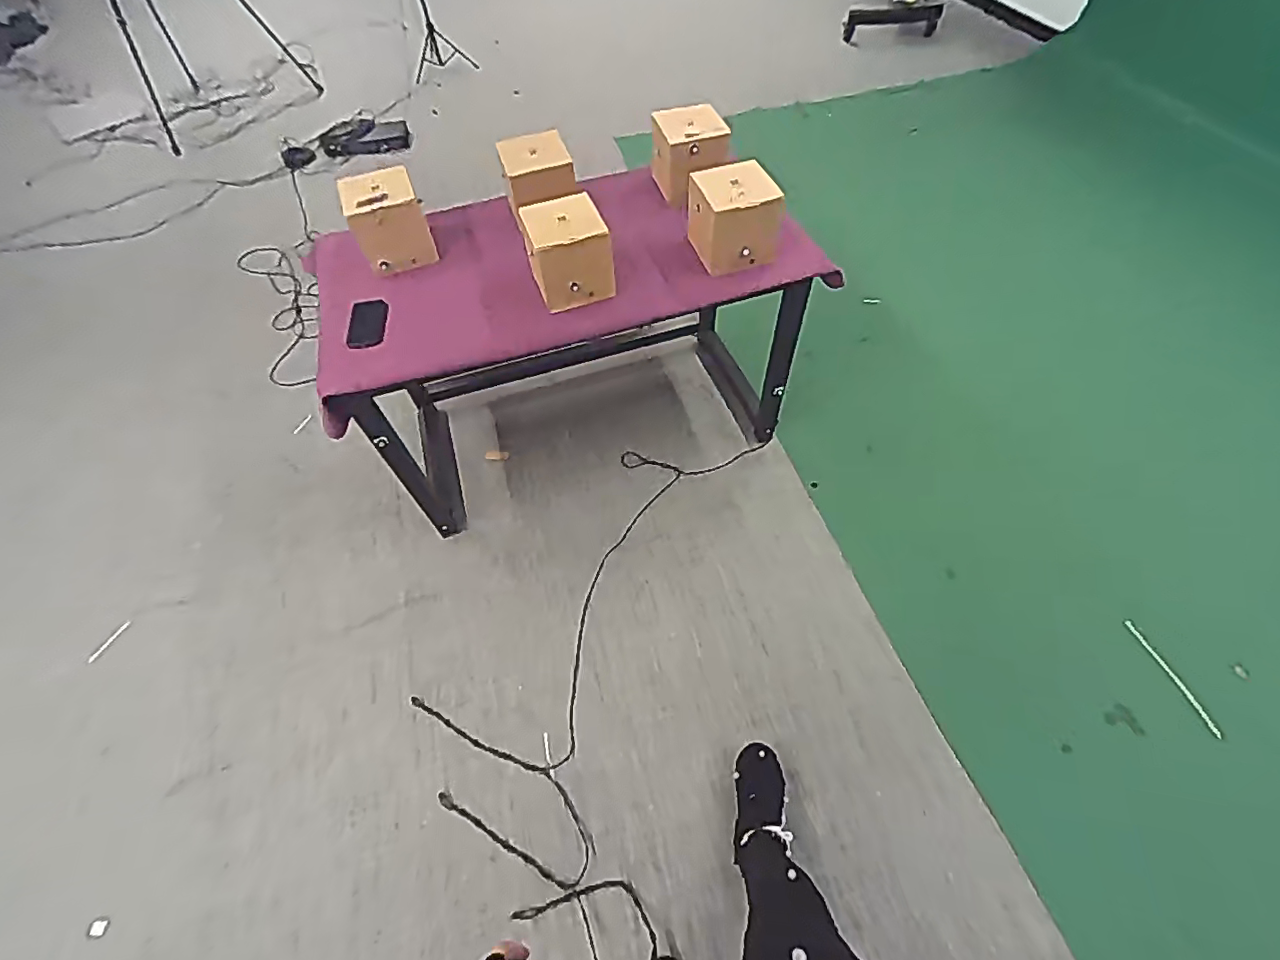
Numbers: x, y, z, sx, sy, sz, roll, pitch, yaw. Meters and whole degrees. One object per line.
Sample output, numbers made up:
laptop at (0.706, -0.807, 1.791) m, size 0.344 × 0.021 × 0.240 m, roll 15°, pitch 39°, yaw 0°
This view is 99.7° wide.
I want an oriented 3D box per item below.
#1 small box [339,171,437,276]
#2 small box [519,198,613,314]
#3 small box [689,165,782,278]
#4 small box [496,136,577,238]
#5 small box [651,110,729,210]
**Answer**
small box at (-0.625, -0.633, 1.353) m, size 0.168 × 0.176 × 0.179 m, roll -20°, pitch 57°, yaw -10°
small box at (-0.169, -0.515, 1.252) m, size 0.168 × 0.176 × 0.179 m, roll -18°, pitch 57°, yaw -9°
small box at (0.218, -0.614, 1.290) m, size 0.168 × 0.176 × 0.179 m, roll -15°, pitch 57°, yaw -5°
small box at (-0.266, -0.765, 1.423) m, size 0.168 × 0.176 × 0.179 m, roll -18°, pitch 58°, yaw -7°
small box at (0.130, -0.865, 1.465) m, size 0.168 × 0.176 × 0.179 m, roll -15°, pitch 57°, yaw -6°
